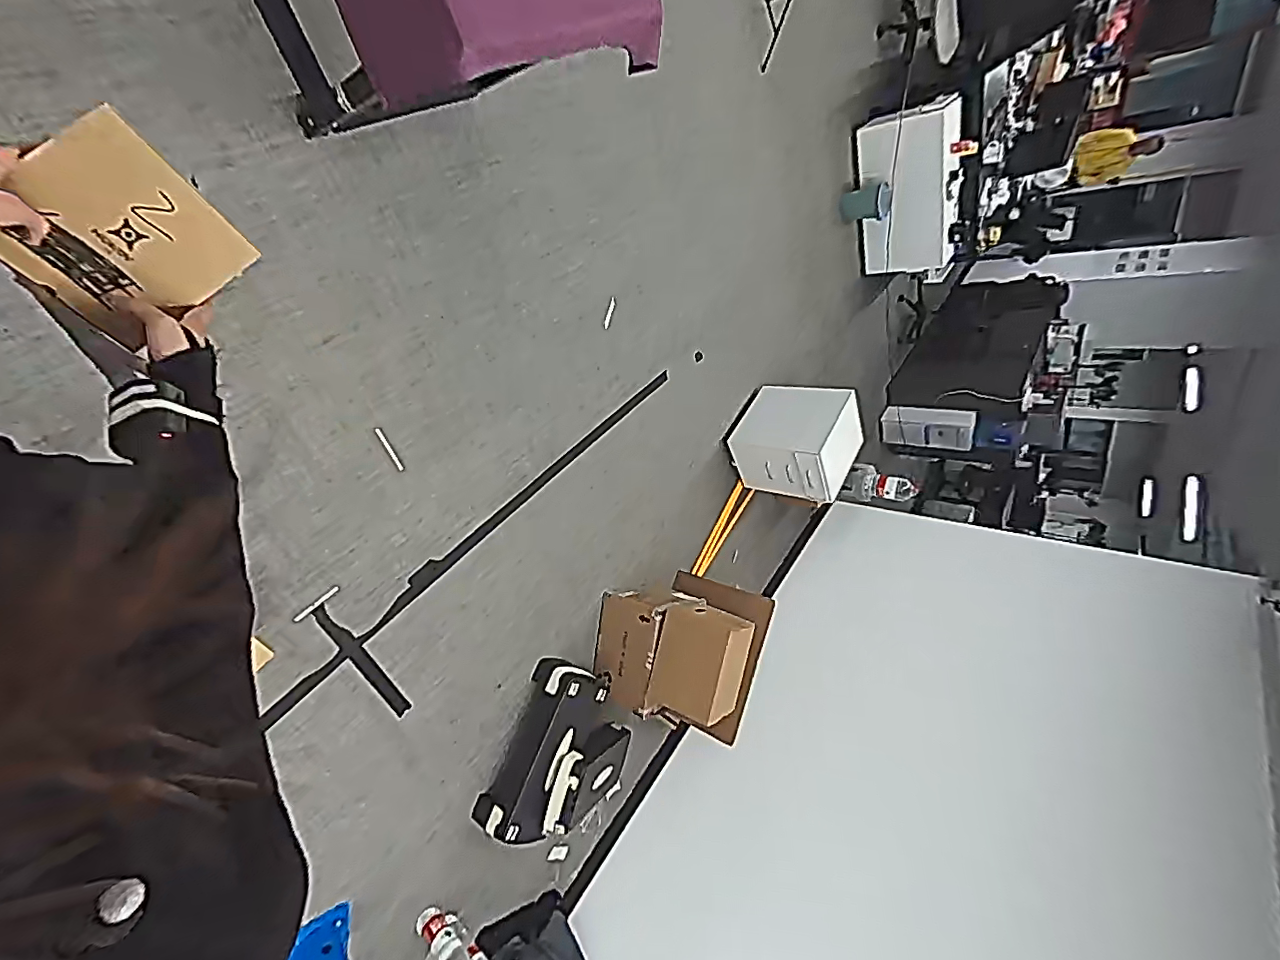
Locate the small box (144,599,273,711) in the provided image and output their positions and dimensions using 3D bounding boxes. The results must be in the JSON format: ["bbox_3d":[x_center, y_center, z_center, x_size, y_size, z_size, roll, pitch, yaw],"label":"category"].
[{"bbox_3d":[-1.056,0.421,1.326,0.168,0.176,0.179,-47,131,-32],"label":"small box"}]
